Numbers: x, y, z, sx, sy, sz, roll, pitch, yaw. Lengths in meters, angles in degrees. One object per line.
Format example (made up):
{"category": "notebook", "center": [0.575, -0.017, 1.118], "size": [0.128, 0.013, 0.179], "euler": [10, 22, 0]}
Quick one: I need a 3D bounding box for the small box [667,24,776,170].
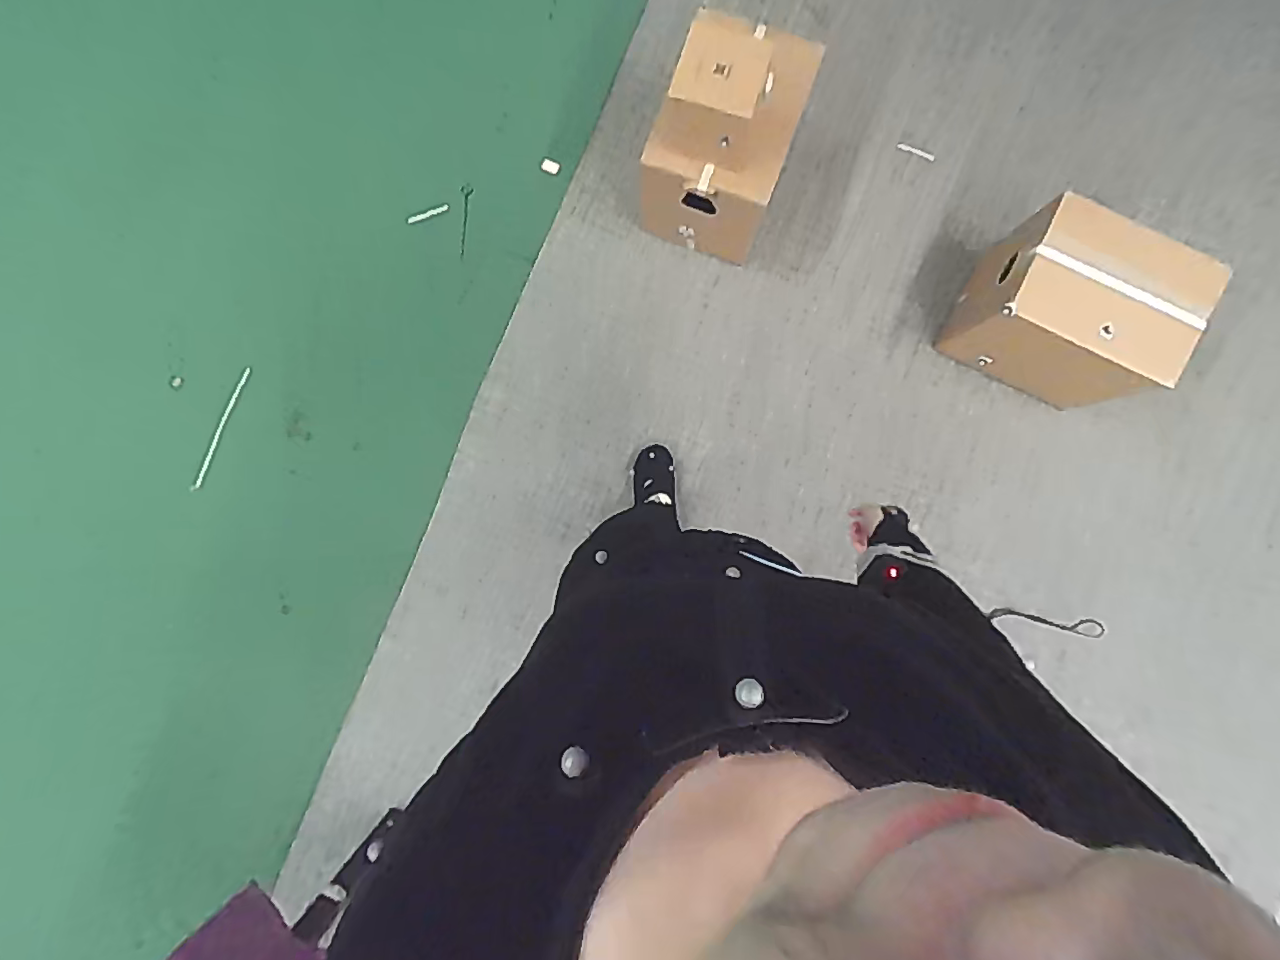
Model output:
{"category": "small box", "center": [0.164, -0.796, 1.142], "size": [0.179, 0.176, 0.168], "euler": [19, 87, 4]}

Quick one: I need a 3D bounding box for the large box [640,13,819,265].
{"category": "large box", "center": [0.210, -0.842, 1.389], "size": [0.320, 0.320, 0.408], "euler": [21, 87, 2]}
